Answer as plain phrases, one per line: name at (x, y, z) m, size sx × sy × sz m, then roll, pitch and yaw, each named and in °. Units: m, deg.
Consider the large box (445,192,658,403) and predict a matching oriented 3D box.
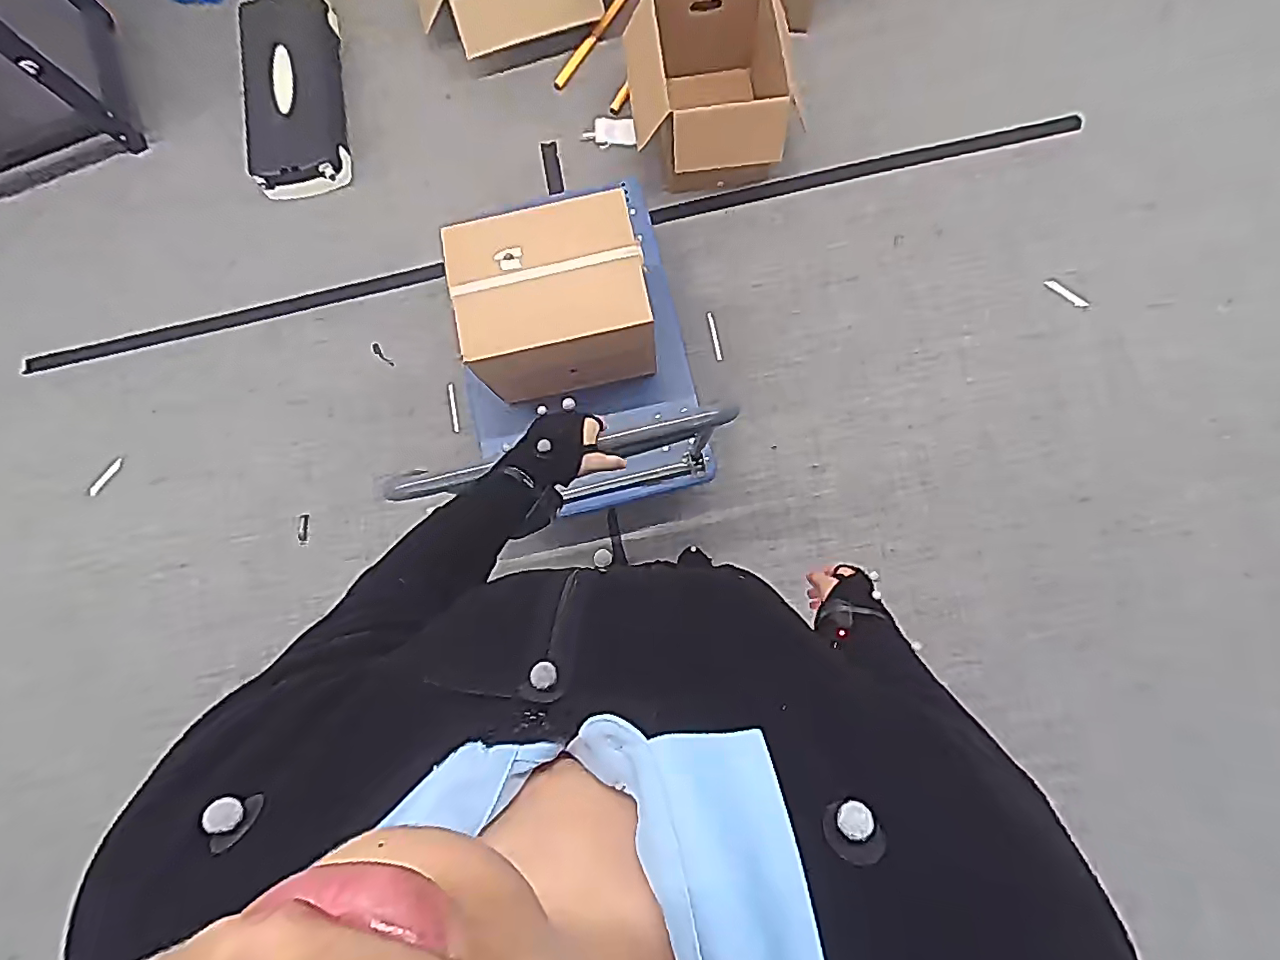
large box at (-0.188, -0.409, 1.290) m, size 0.408 × 0.320 × 0.320 m, roll -12°, pitch 80°, yaw 2°
